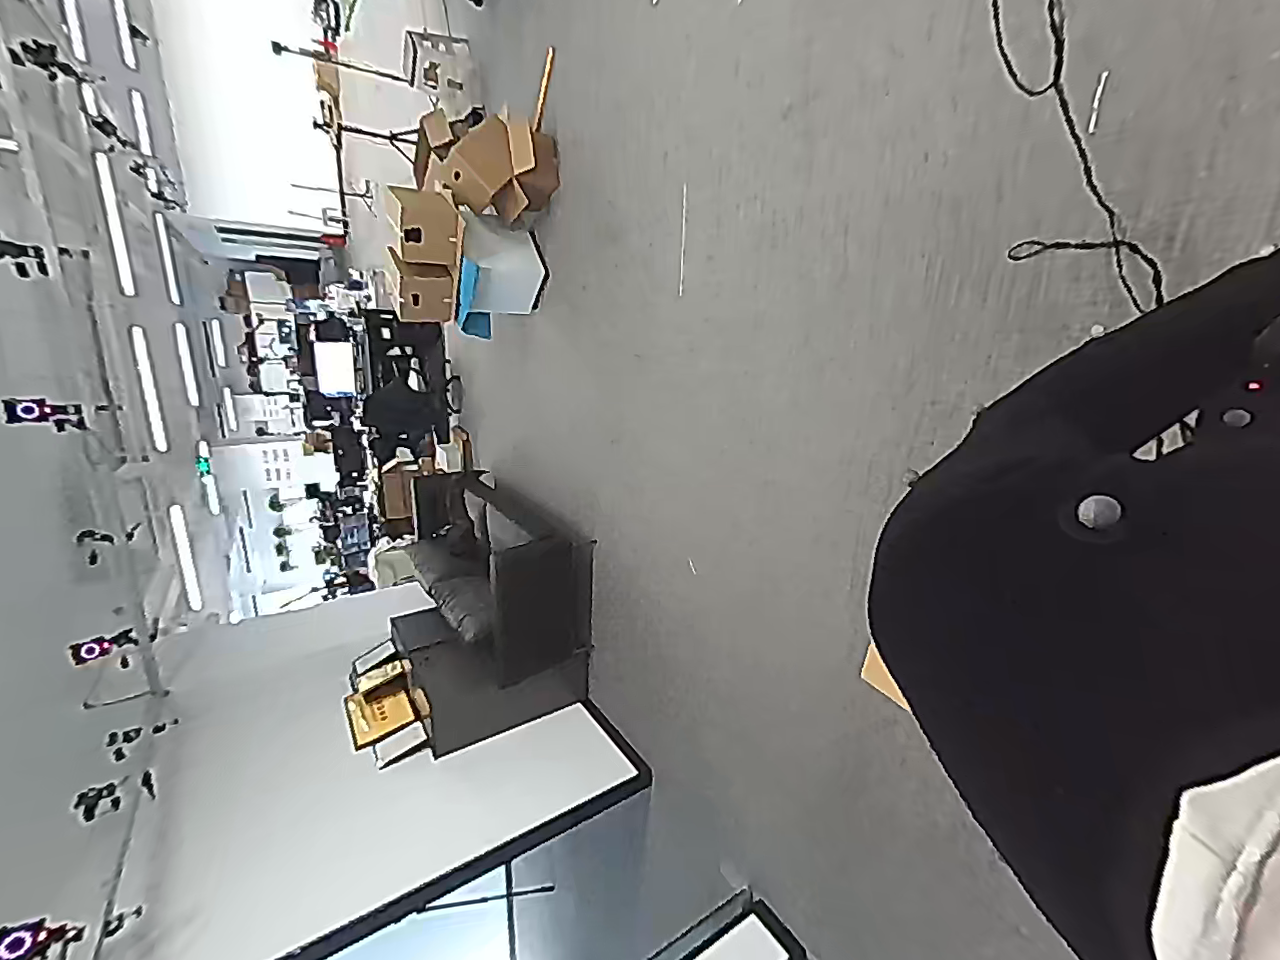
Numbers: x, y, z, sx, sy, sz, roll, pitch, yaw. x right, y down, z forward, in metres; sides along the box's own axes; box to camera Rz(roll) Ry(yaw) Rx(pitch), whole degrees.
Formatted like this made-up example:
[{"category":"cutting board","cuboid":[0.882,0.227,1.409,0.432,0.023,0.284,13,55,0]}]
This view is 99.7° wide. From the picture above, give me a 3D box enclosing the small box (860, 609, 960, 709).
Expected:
[{"category":"small box","cuboid":[0.745,0.485,1.488,0.168,0.176,0.179,31,121,49]}]
